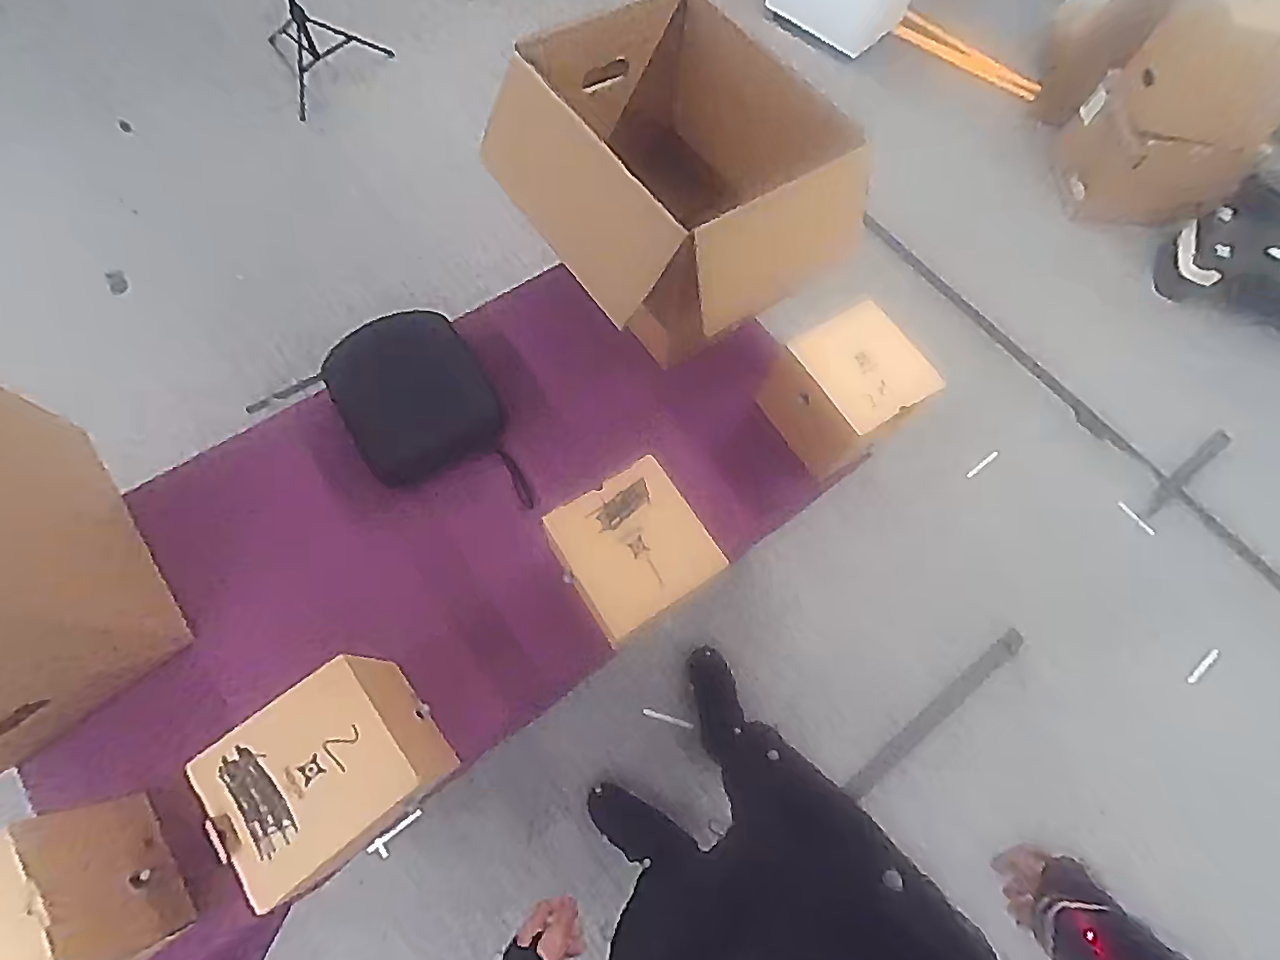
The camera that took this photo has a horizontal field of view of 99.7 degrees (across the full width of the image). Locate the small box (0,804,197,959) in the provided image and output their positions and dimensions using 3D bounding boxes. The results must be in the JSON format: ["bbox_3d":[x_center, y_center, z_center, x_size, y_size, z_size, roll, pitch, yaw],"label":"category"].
[{"bbox_3d":[-0.622,0.474,0.554,0.179,0.176,0.168,-35,75,-16],"label":"small box"}]

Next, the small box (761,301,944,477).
[{"bbox_3d":[0.313,-0.134,0.841,0.168,0.176,0.179,-29,73,-12],"label":"small box"}]

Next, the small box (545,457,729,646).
[{"bbox_3d":[-0.009,0.105,0.732,0.168,0.176,0.179,-32,74,-13],"label":"small box"}]
